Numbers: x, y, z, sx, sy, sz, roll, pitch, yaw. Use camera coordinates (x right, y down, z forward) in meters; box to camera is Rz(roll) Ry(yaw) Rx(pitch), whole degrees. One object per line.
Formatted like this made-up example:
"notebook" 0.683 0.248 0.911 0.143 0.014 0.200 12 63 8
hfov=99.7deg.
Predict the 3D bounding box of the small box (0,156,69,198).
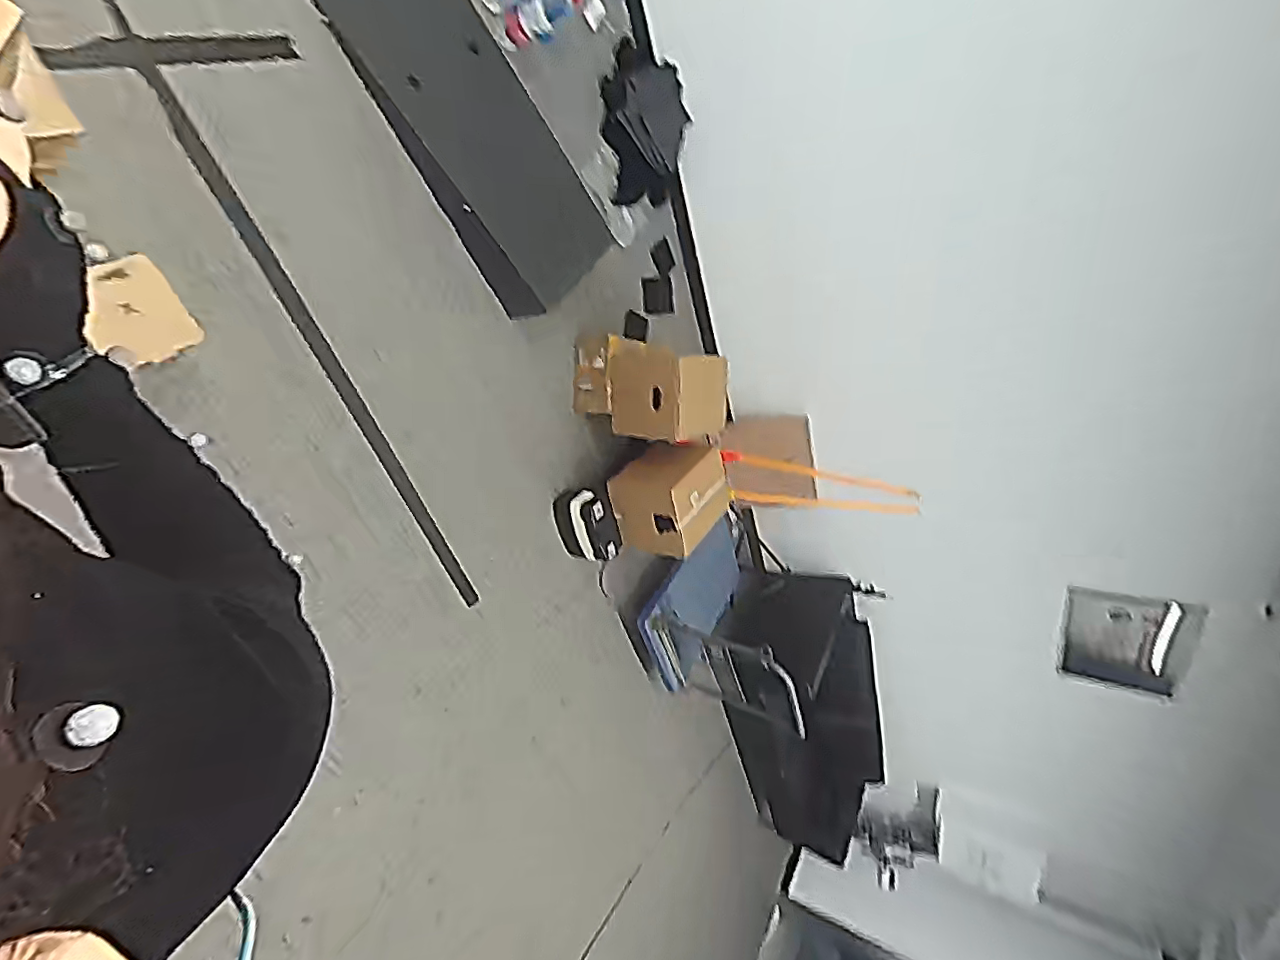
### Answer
"small box" -1.097 -0.559 0.871 0.168 0.176 0.179 -48 132 -40

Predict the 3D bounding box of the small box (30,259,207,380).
"small box" -1.002 -0.308 1.045 0.168 0.176 0.179 -48 132 -40

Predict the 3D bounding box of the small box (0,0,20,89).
"small box" -0.494 -0.228 0.289 0.168 0.176 0.179 27 78 -50

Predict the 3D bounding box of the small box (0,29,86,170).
"small box" -0.967 -0.551 0.771 0.179 0.176 0.168 -47 132 -42
